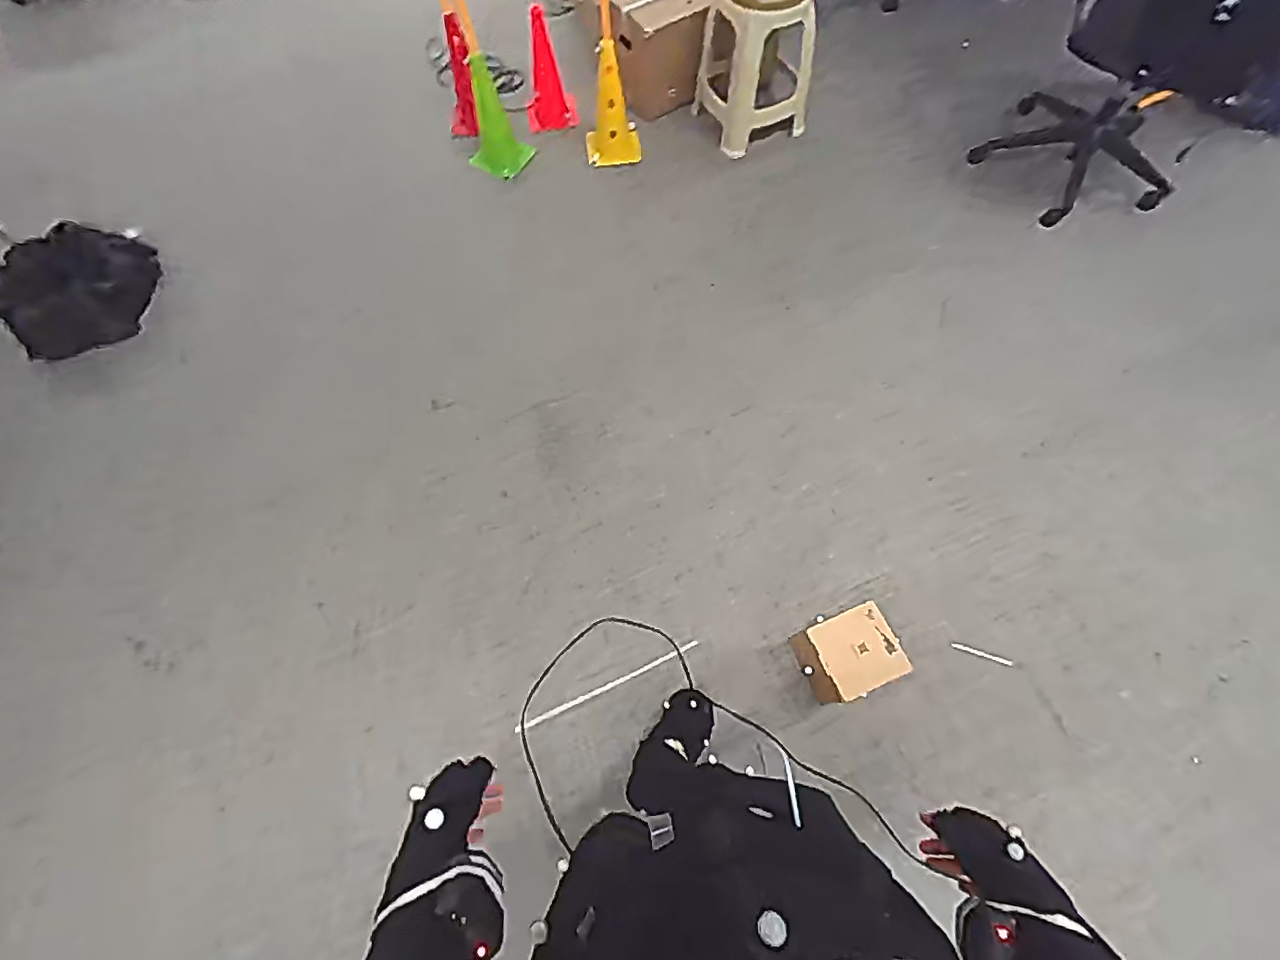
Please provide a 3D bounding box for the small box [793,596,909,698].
[{"bbox_3d":[0.473,0.392,1.251,0.179,0.176,0.168,-22,68,-8],"label":"small box"}]
